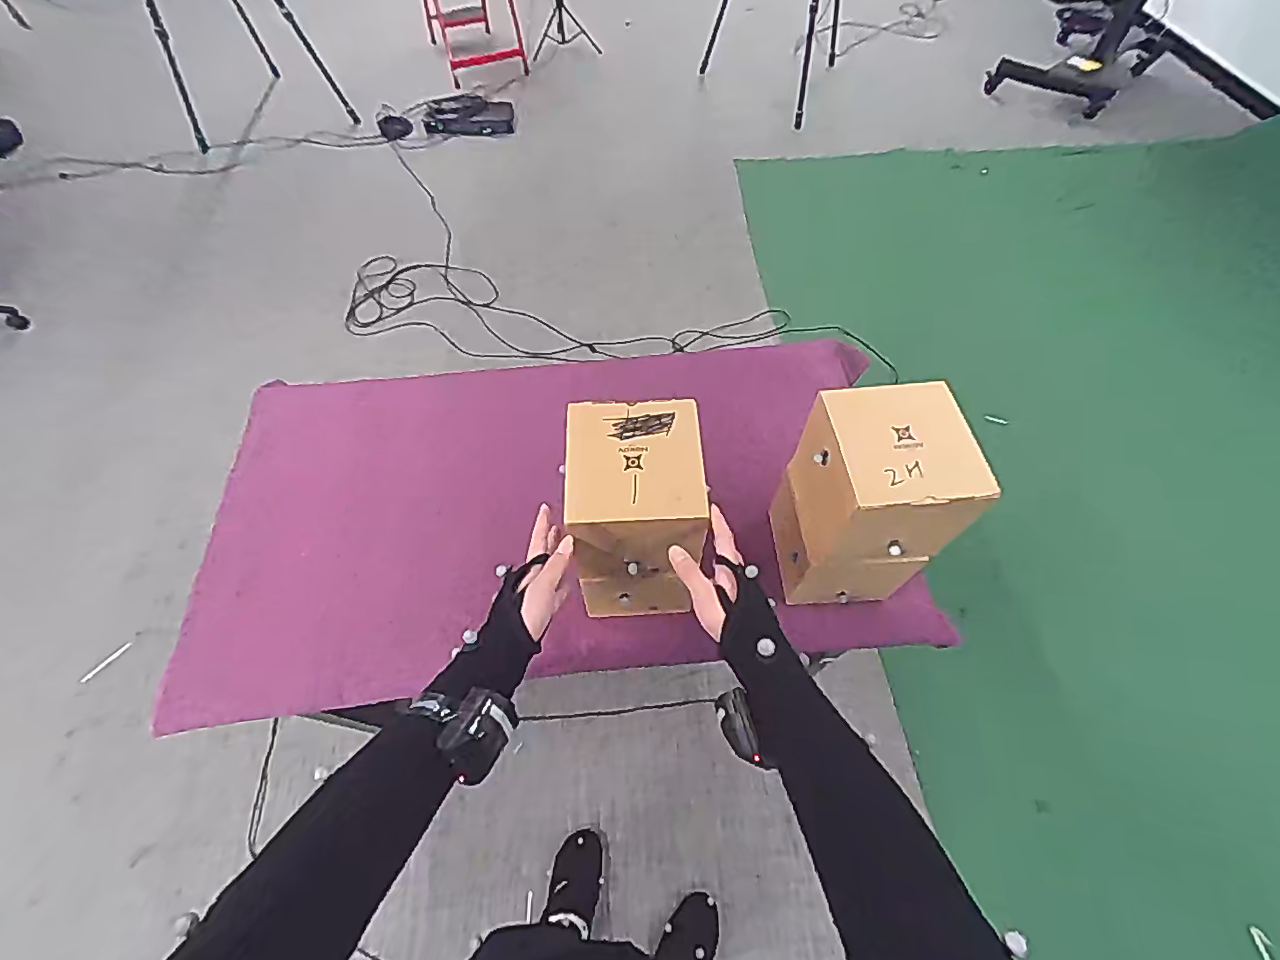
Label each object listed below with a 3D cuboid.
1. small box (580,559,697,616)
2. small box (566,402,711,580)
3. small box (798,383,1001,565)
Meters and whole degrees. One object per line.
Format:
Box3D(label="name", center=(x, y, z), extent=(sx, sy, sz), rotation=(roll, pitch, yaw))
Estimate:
Box3D(label="small box", center=(-0.002, 0.107, 0.850), extent=(0.168, 0.176, 0.179), rotation=(-3, 58, -1))
Box3D(label="small box", center=(-0.003, 0.018, 0.713), extent=(0.168, 0.176, 0.179), rotation=(-2, 59, 0))
Box3D(label="small box", center=(0.321, -0.004, 0.717), extent=(0.168, 0.176, 0.179), rotation=(-5, 59, -1))
